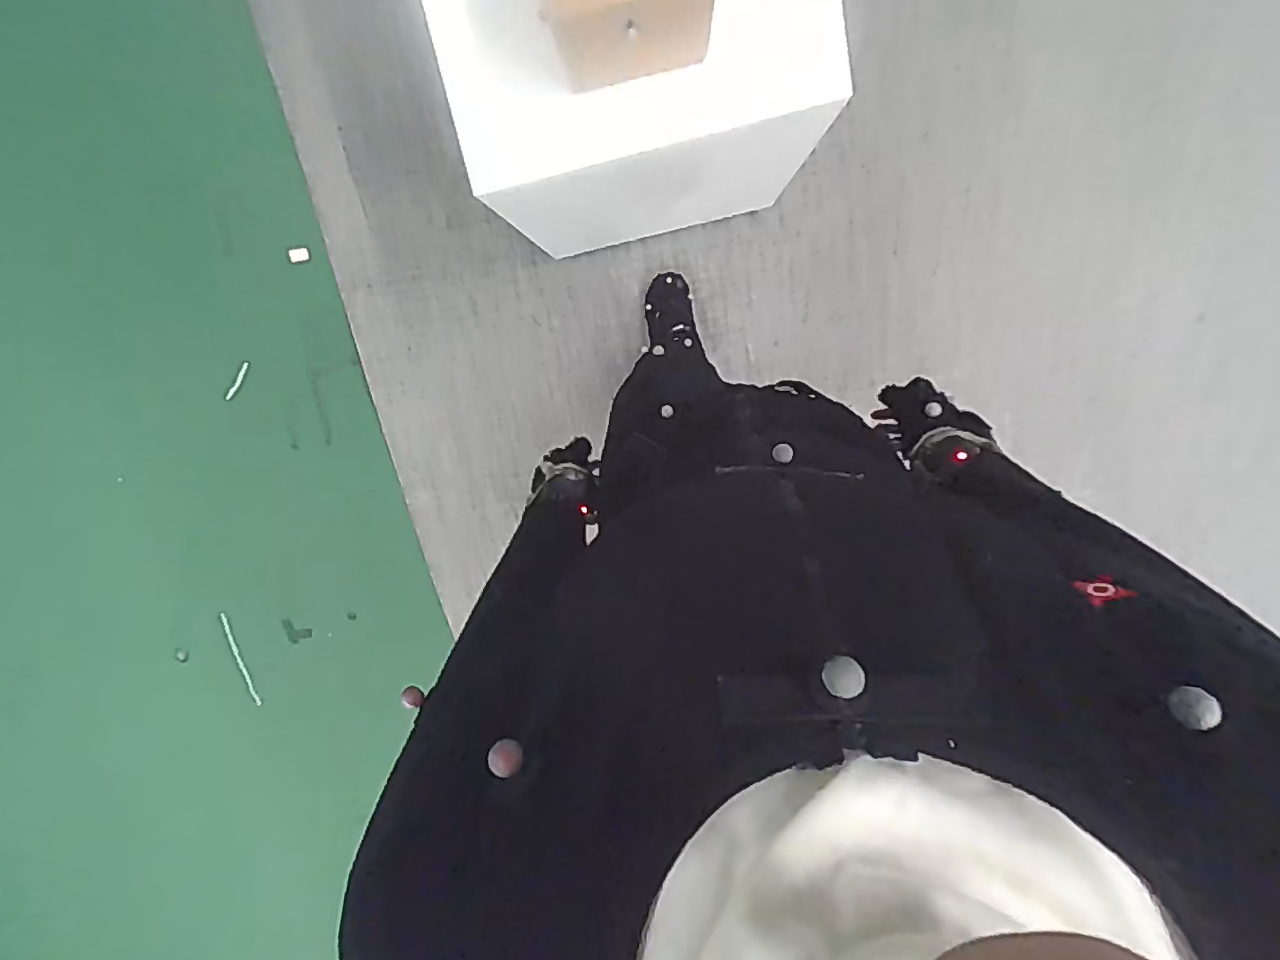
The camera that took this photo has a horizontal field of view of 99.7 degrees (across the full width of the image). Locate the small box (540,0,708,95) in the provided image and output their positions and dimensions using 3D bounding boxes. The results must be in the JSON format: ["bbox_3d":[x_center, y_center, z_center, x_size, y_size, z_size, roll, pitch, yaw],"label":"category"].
[{"bbox_3d":[-0.021,-0.569,0.604,0.179,0.176,0.168,-10,103,4],"label":"small box"}]
